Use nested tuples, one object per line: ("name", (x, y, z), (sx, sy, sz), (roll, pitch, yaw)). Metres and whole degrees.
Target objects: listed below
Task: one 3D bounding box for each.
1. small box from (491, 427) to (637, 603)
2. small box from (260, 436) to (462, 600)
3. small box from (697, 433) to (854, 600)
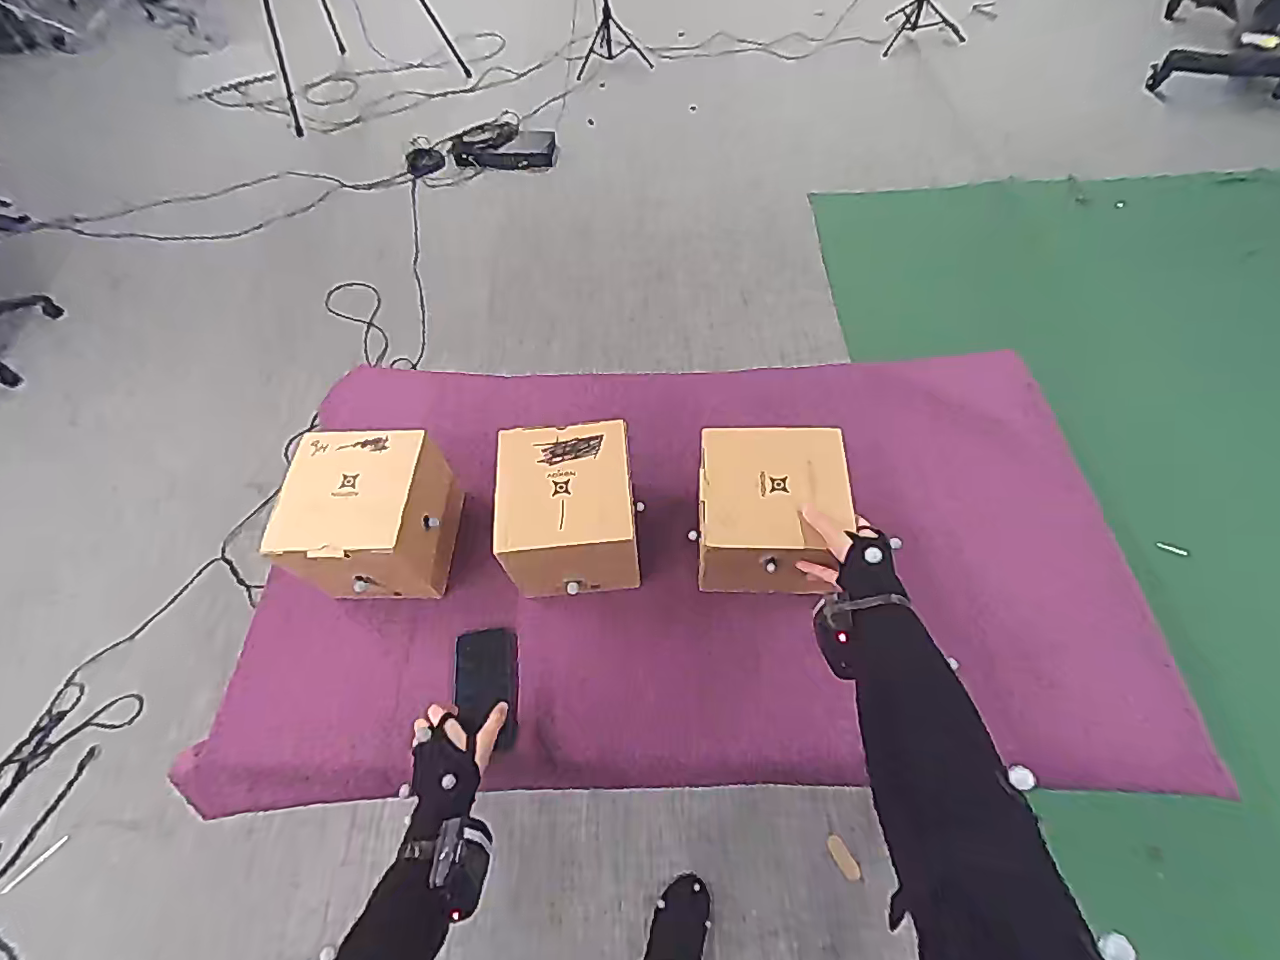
("small box", (-0.093, 0.051, 0.732), (0.168, 0.176, 0.179), (-5, 59, 0))
("small box", (-0.361, 0.058, 0.741), (0.168, 0.176, 0.179), (-1, 59, 3))
("small box", (0.164, 0.053, 0.716), (0.179, 0.176, 0.168), (1, 59, 5))
